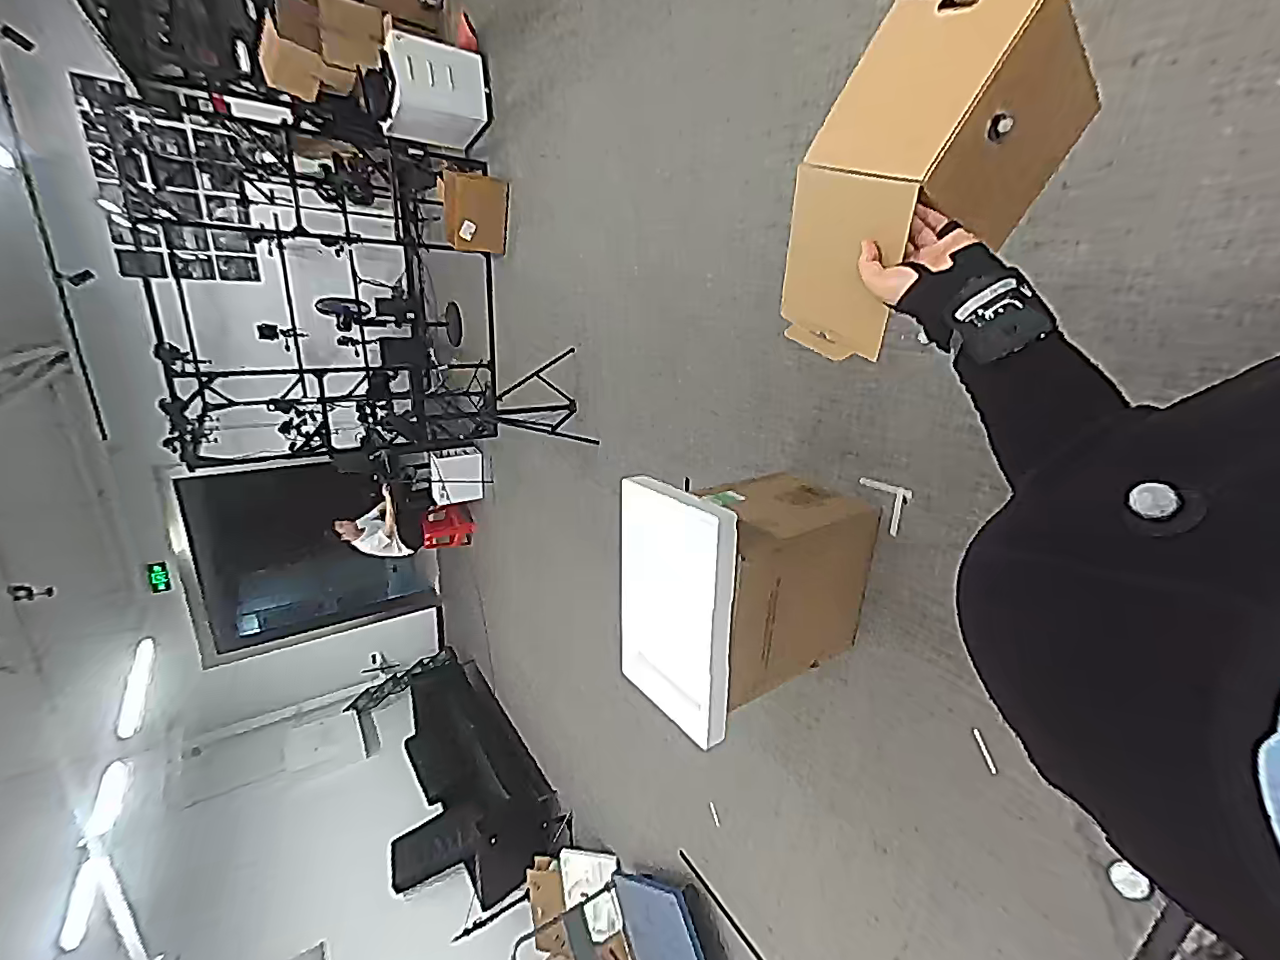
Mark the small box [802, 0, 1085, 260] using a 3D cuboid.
[{"bbox_3d":[0.317,-0.362,0.569,0.179,0.176,0.168,-58,41,16],"label":"small box"}]
